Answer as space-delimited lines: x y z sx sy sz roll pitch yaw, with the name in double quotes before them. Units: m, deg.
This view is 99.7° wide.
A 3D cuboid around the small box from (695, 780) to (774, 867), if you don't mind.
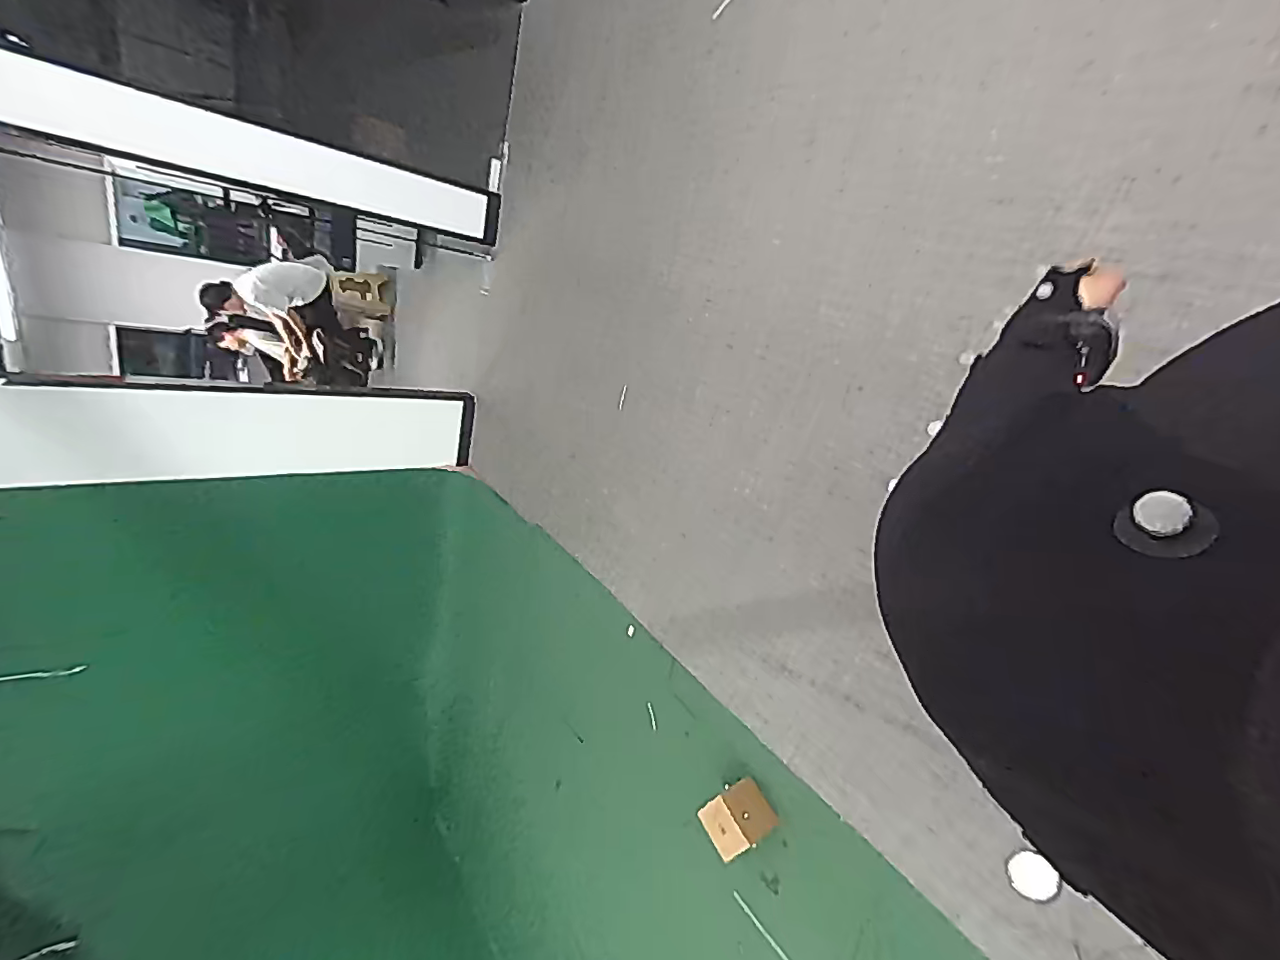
"small box" 0.331 1.190 1.881 0.179 0.176 0.168 54 129 32
